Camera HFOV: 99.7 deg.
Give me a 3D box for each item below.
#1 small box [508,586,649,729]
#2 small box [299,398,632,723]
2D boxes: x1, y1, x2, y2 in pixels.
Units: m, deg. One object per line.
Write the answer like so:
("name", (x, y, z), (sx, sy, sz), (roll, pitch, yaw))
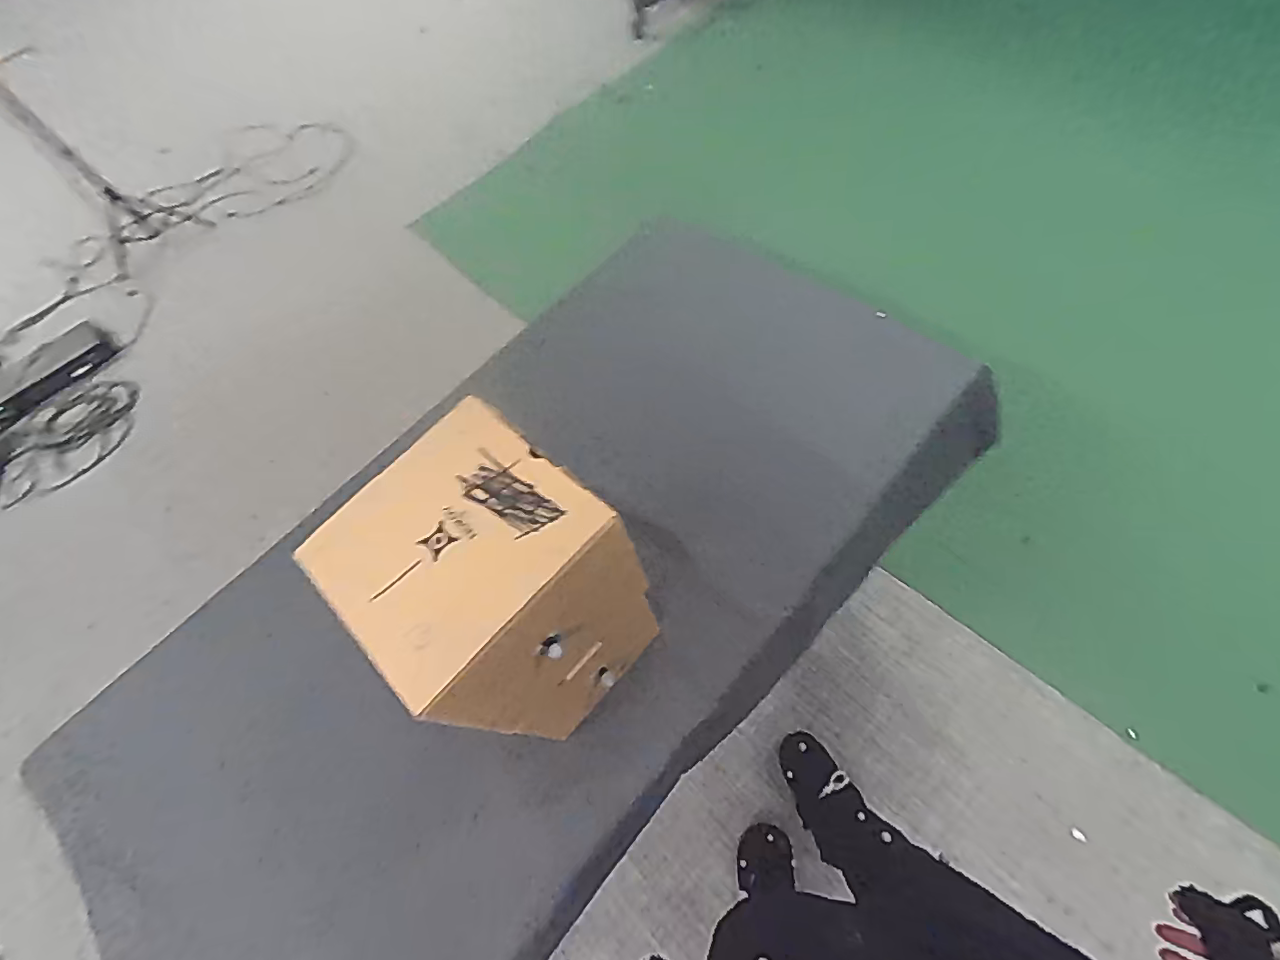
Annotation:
("small box", (-0.108, 0.147, 0.597), (0.179, 0.176, 0.168), (38, 74, 23))
("small box", (-0.121, 0.073, 0.450), (0.168, 0.176, 0.179), (35, 72, 23))
